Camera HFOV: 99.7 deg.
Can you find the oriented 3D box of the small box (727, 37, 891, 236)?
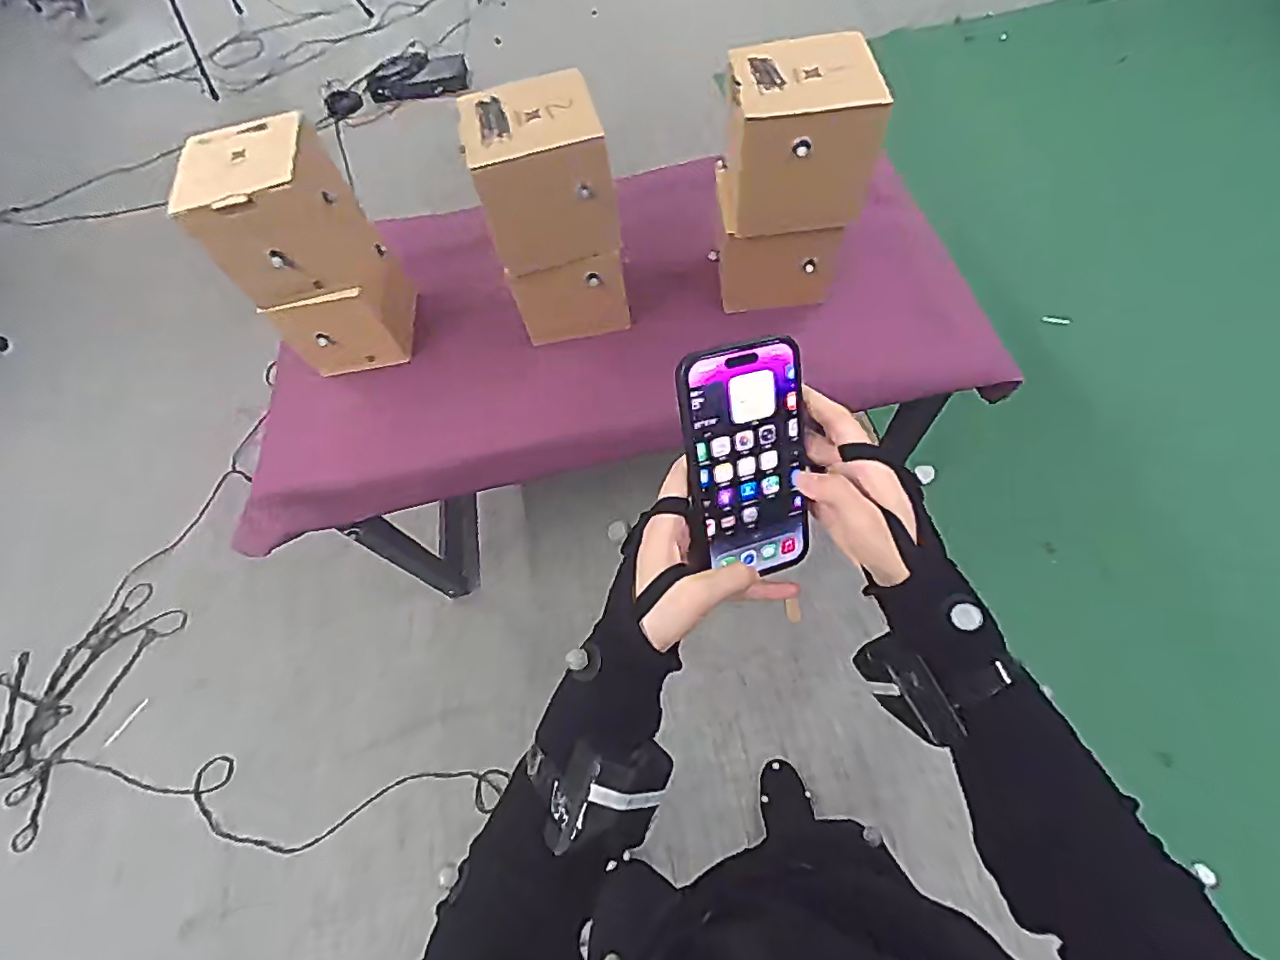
[{"bbox_3d":[0.215,-0.461,0.744,0.179,0.176,0.168,-5,62,5],"label":"small box"}]

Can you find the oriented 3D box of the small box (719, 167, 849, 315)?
[{"bbox_3d":[0.225,-0.398,0.896,0.179,0.176,0.168,-5,62,6],"label":"small box"}]

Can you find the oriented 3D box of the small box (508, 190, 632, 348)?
[{"bbox_3d":[-0.112,-0.349,0.914,0.179,0.176,0.168,-11,62,2],"label":"small box"}]

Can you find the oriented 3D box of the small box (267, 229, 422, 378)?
[{"bbox_3d":[-0.499,-0.296,0.941,0.168,0.176,0.179,-10,62,3],"label":"small box"}]

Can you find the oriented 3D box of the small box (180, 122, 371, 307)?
[{"bbox_3d":[-0.520,-0.379,0.800,0.168,0.176,0.179,-14,62,-1],"label":"small box"}]
